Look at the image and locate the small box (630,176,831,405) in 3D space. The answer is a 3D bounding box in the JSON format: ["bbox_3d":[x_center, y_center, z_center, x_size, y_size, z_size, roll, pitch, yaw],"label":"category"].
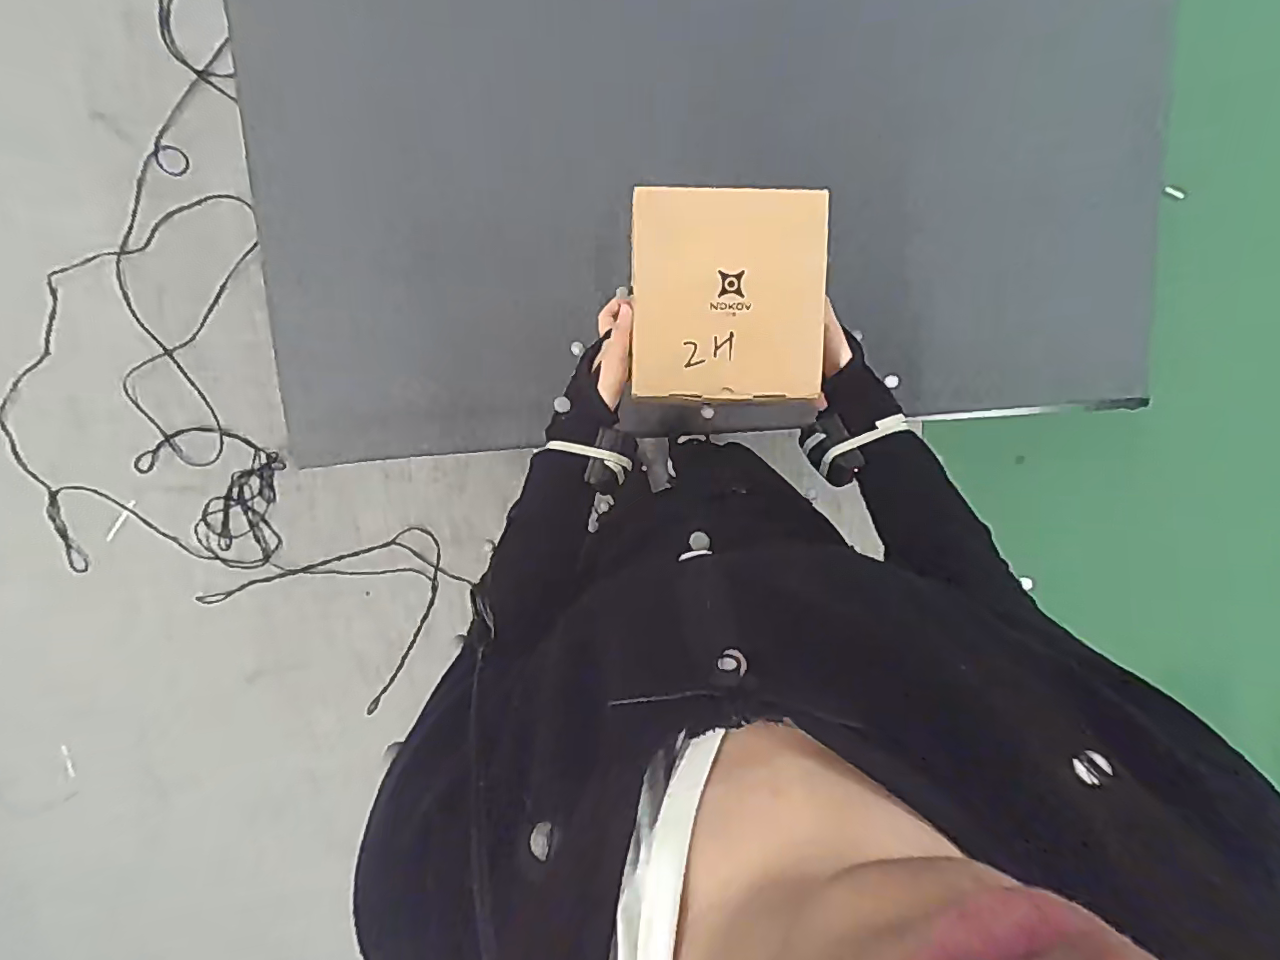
[{"bbox_3d":[0.074,-0.169,0.533,0.168,0.176,0.179,0,95,-1],"label":"small box"}]
